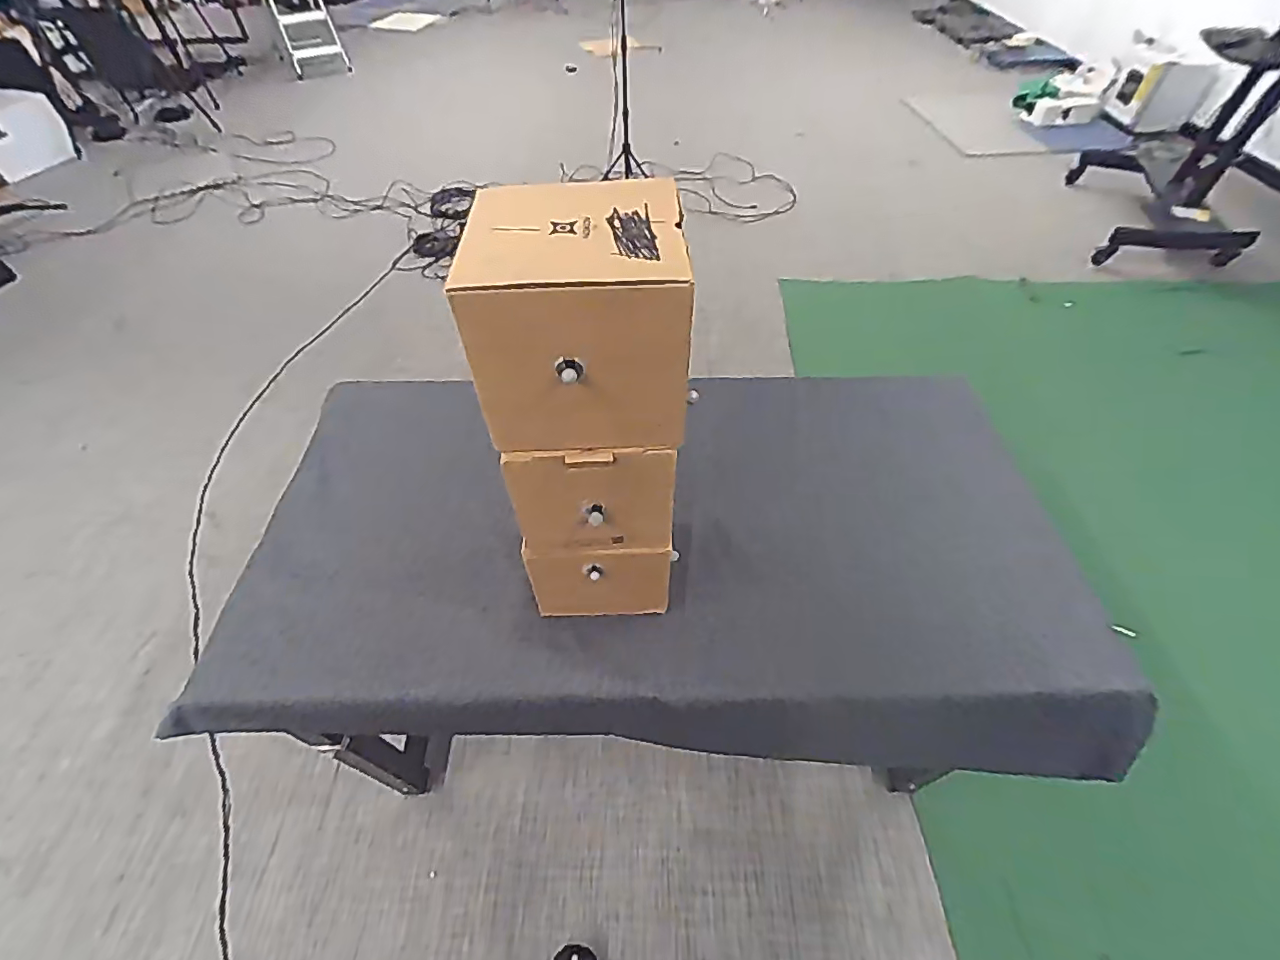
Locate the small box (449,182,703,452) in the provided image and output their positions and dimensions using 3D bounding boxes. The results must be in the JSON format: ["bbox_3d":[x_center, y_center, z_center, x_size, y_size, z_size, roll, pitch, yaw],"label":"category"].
[{"bbox_3d":[-0.050,-0.140,0.480,0.179,0.176,0.168,-4,51,-4],"label":"small box"}]

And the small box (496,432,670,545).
[{"bbox_3d":[-0.053,-0.036,0.608,0.168,0.176,0.179,-3,52,-1],"label":"small box"}]

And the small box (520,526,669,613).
[{"bbox_3d":[-0.053,0.071,0.731,0.179,0.176,0.168,-1,52,-2],"label":"small box"}]
